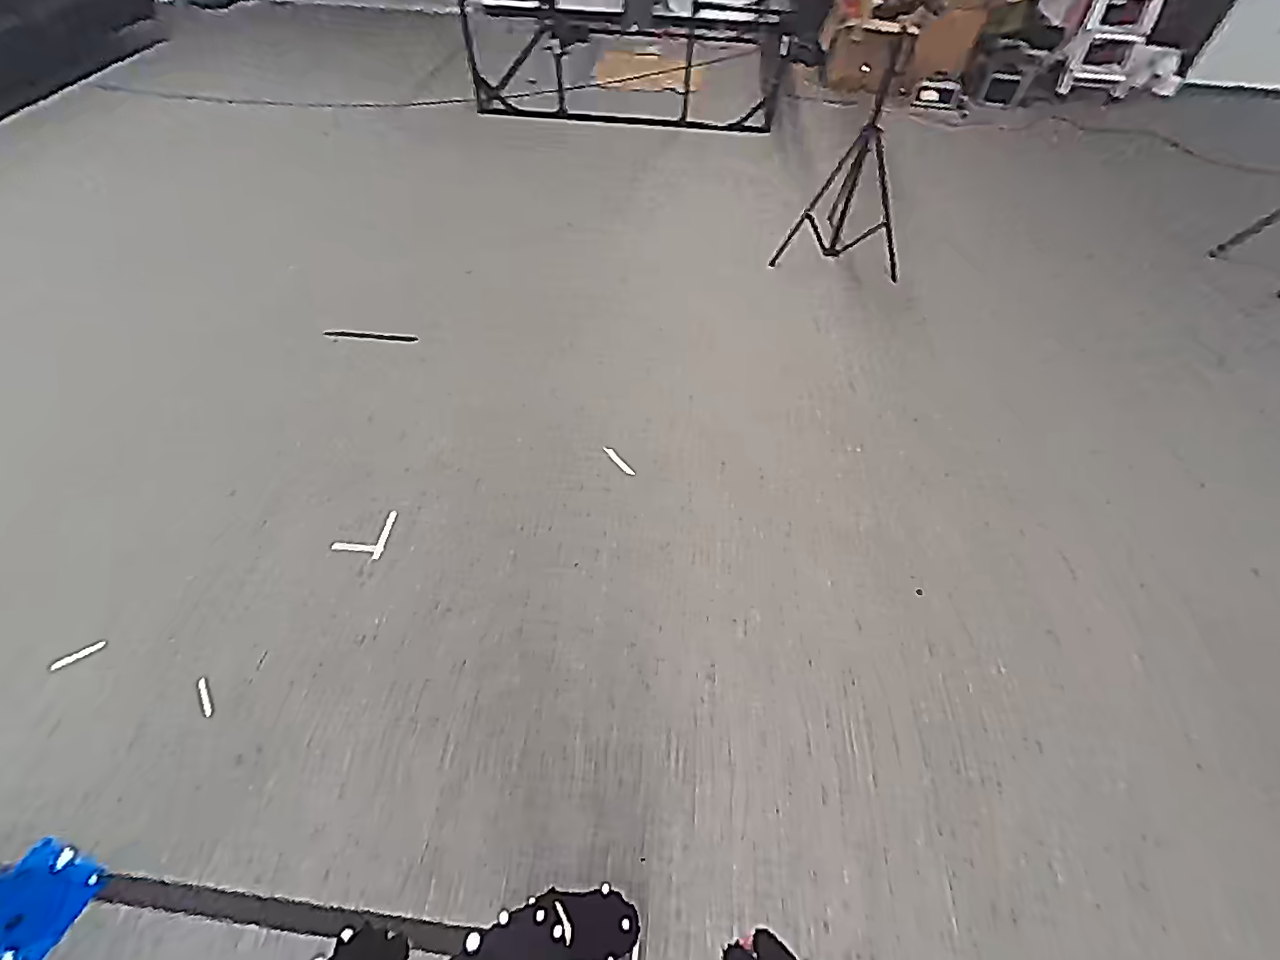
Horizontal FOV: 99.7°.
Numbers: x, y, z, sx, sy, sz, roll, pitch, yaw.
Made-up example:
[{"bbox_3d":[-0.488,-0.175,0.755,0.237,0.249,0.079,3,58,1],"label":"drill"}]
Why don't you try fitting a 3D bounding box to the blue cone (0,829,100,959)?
[{"bbox_3d":[-1.265,0.756,0.996,0.193,0.380,0.192,20,53,12],"label":"blue cone"}]
